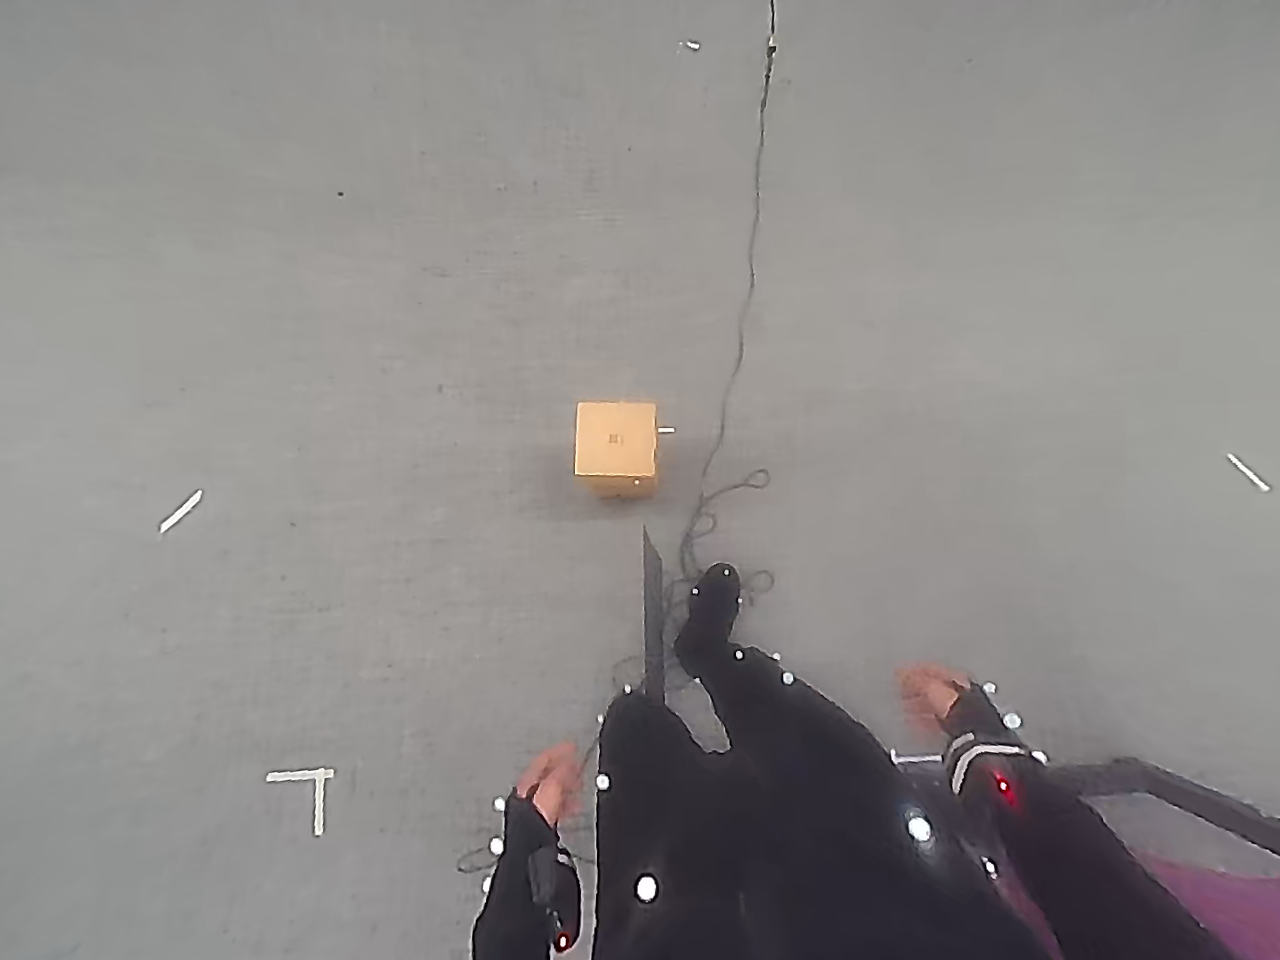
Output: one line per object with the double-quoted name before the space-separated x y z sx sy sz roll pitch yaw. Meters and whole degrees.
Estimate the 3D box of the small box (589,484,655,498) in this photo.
"small box" -0.043 -0.049 1.410 0.168 0.176 0.179 -1 82 2

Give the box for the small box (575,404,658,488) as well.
"small box" -0.048 -0.073 1.250 0.179 0.176 0.168 1 81 2
